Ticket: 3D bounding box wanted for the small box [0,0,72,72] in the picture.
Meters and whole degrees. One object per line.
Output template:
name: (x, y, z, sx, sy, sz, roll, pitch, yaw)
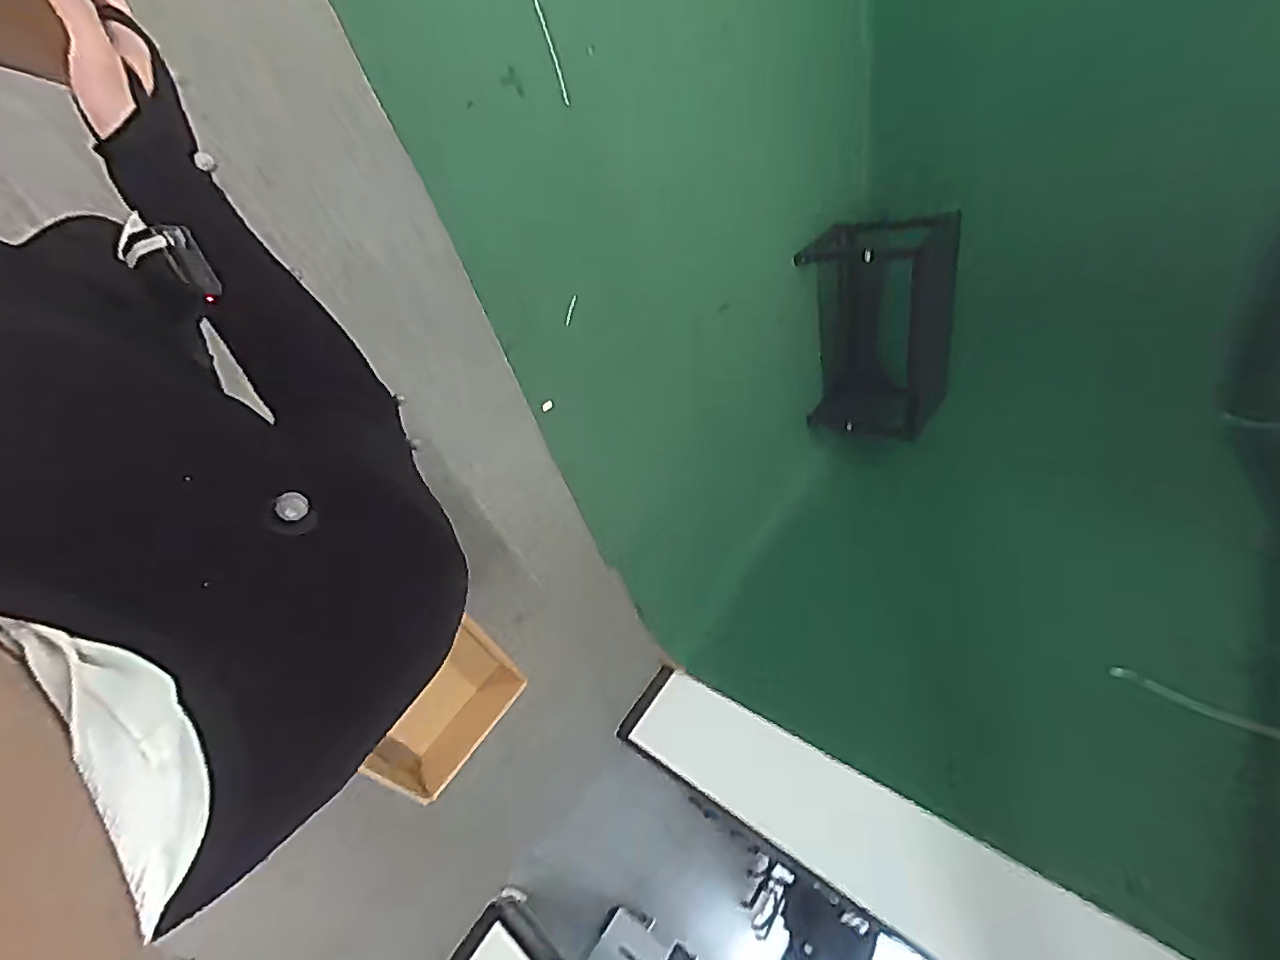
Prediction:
small box: (-0.507, -0.427, 0.359, 0.168, 0.176, 0.179, -8, 104, -45)
